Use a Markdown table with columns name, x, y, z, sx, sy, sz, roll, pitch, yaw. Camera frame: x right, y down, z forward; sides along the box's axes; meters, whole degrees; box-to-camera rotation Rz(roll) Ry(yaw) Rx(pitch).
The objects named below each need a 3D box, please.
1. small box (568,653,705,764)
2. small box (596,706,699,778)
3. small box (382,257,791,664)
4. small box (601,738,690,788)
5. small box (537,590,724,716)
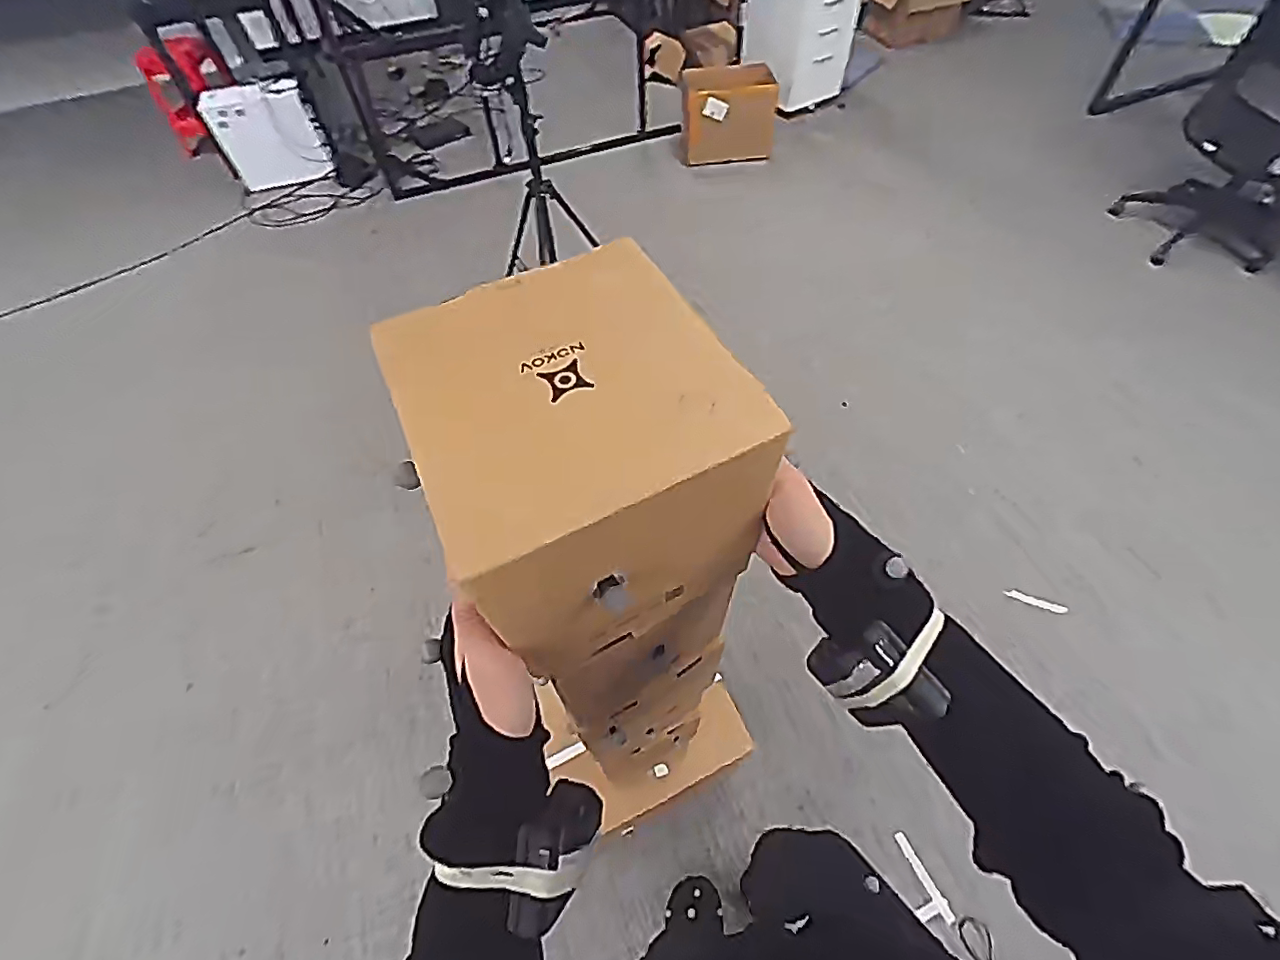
| name | x | y | z | sx | sy | sz | roll | pitch | yaw |
| --- | --- | --- | --- | --- | --- | --- | --- | --- | --- |
| small box | -0.028 | 0.272 | 0.757 | 0.168 | 0.176 | 0.179 | -27 | 59 | -17 |
| small box | -0.018 | 0.366 | 0.891 | 0.168 | 0.176 | 0.179 | -23 | 57 | -15 |
| small box | -0.033 | -0.002 | 0.348 | 0.168 | 0.176 | 0.179 | -24 | 59 | -14 |
| small box | -0.020 | 0.456 | 1.026 | 0.168 | 0.176 | 0.179 | -23 | 59 | -13 |
| small box | -0.035 | 0.087 | 0.486 | 0.168 | 0.176 | 0.179 | -30 | 61 | -19 |
